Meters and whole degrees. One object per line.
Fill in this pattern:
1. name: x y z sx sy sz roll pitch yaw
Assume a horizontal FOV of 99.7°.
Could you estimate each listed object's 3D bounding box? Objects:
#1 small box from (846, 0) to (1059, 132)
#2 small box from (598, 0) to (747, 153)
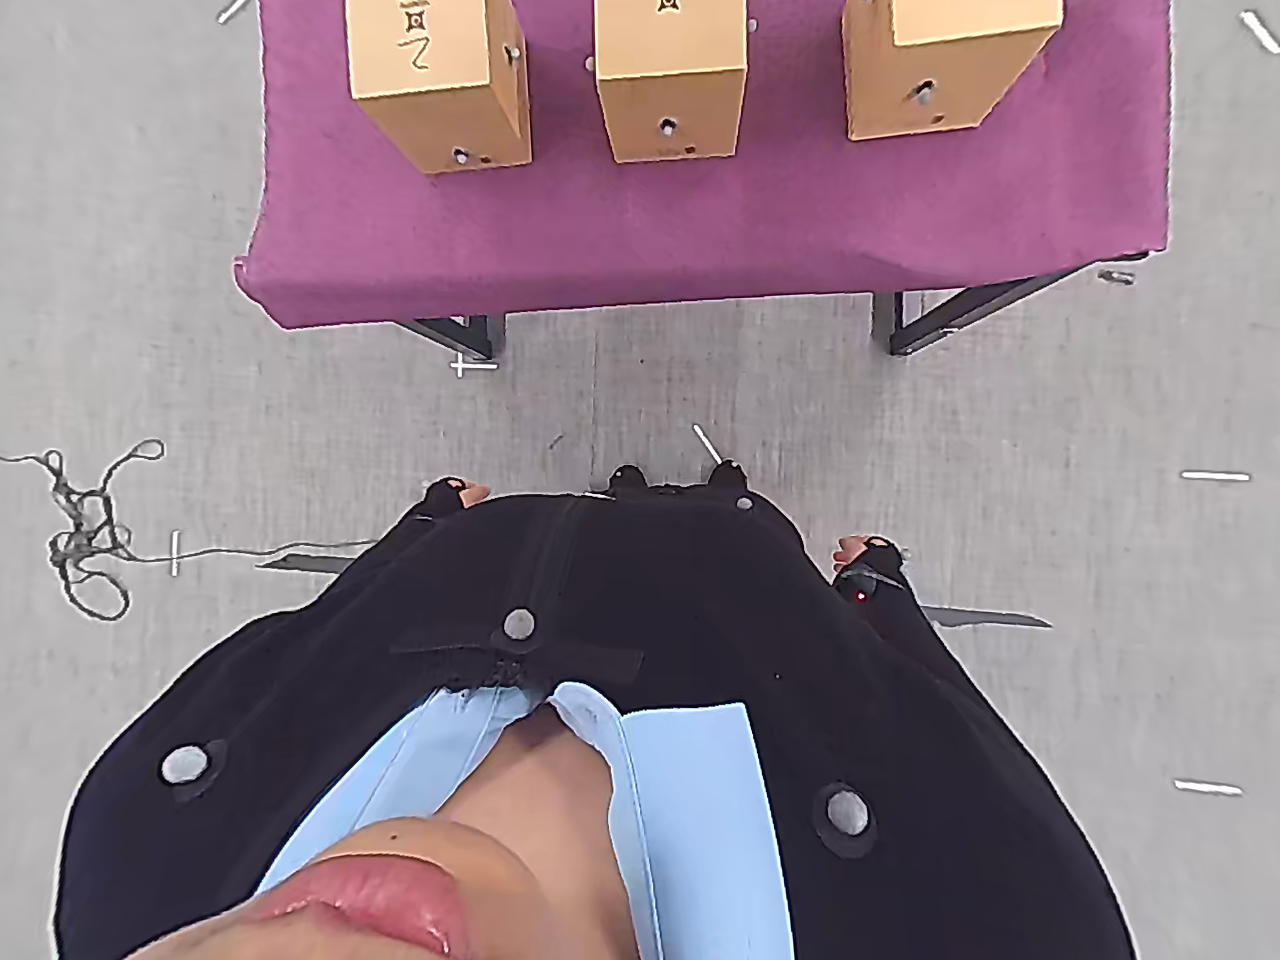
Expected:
1. small box: 0.350 -0.543 0.637 0.168 0.176 0.179 -3 90 6
2. small box: 0.042 -0.529 0.665 0.168 0.176 0.179 0 91 4
